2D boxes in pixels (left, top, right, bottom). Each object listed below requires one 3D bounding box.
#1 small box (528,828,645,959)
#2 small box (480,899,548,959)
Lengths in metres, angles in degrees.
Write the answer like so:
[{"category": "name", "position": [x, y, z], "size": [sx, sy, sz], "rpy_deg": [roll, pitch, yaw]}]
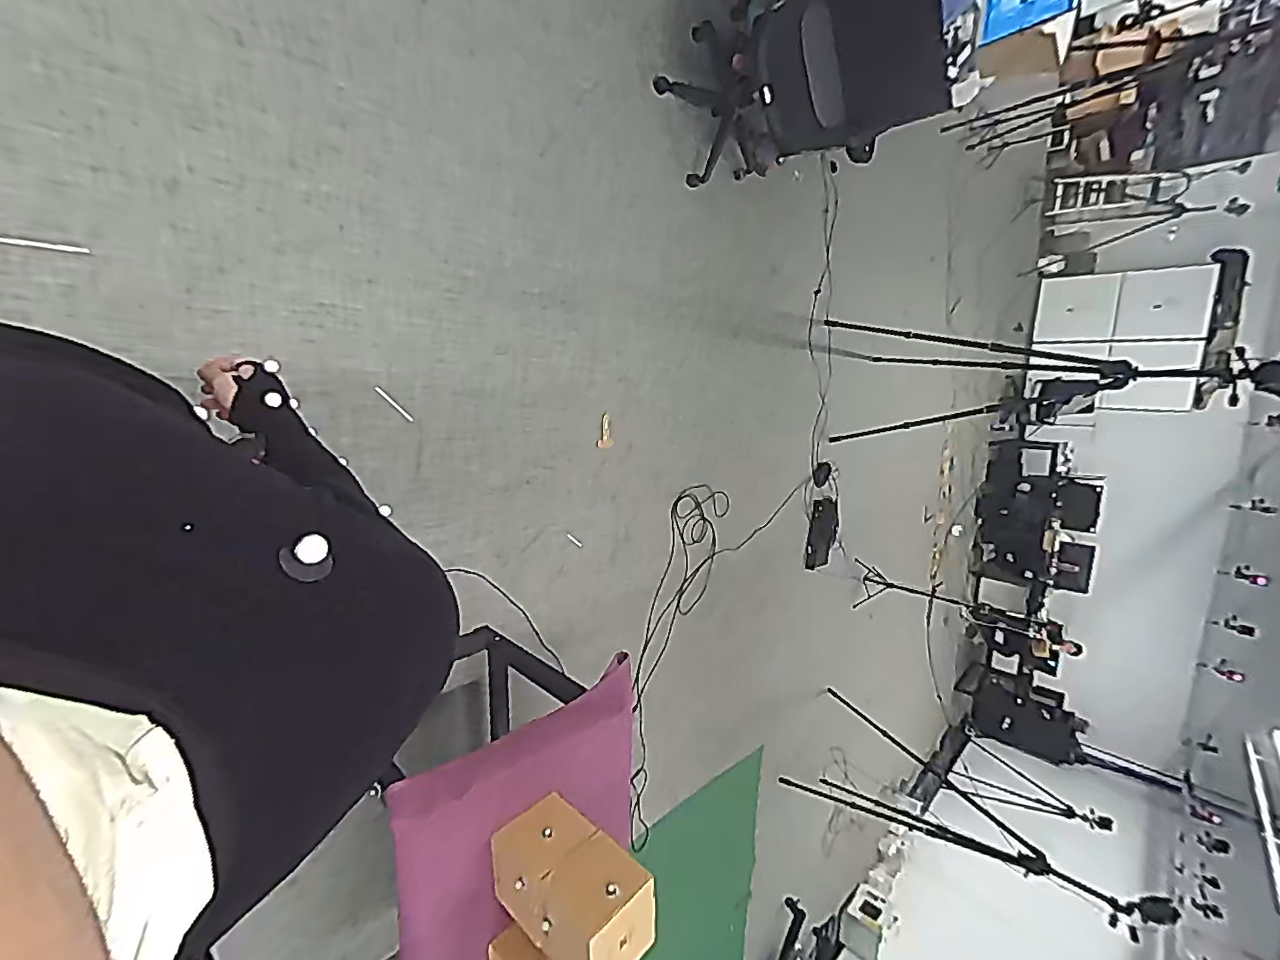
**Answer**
[{"category": "small box", "position": [-0.109, 0.866, 1.104], "size": [0.179, 0.176, 0.168], "rpy_deg": [-13, 107, -46]}, {"category": "small box", "position": [-0.249, 1.118, 1.255], "size": [0.179, 0.176, 0.168], "rpy_deg": [-11, 107, -45]}]
